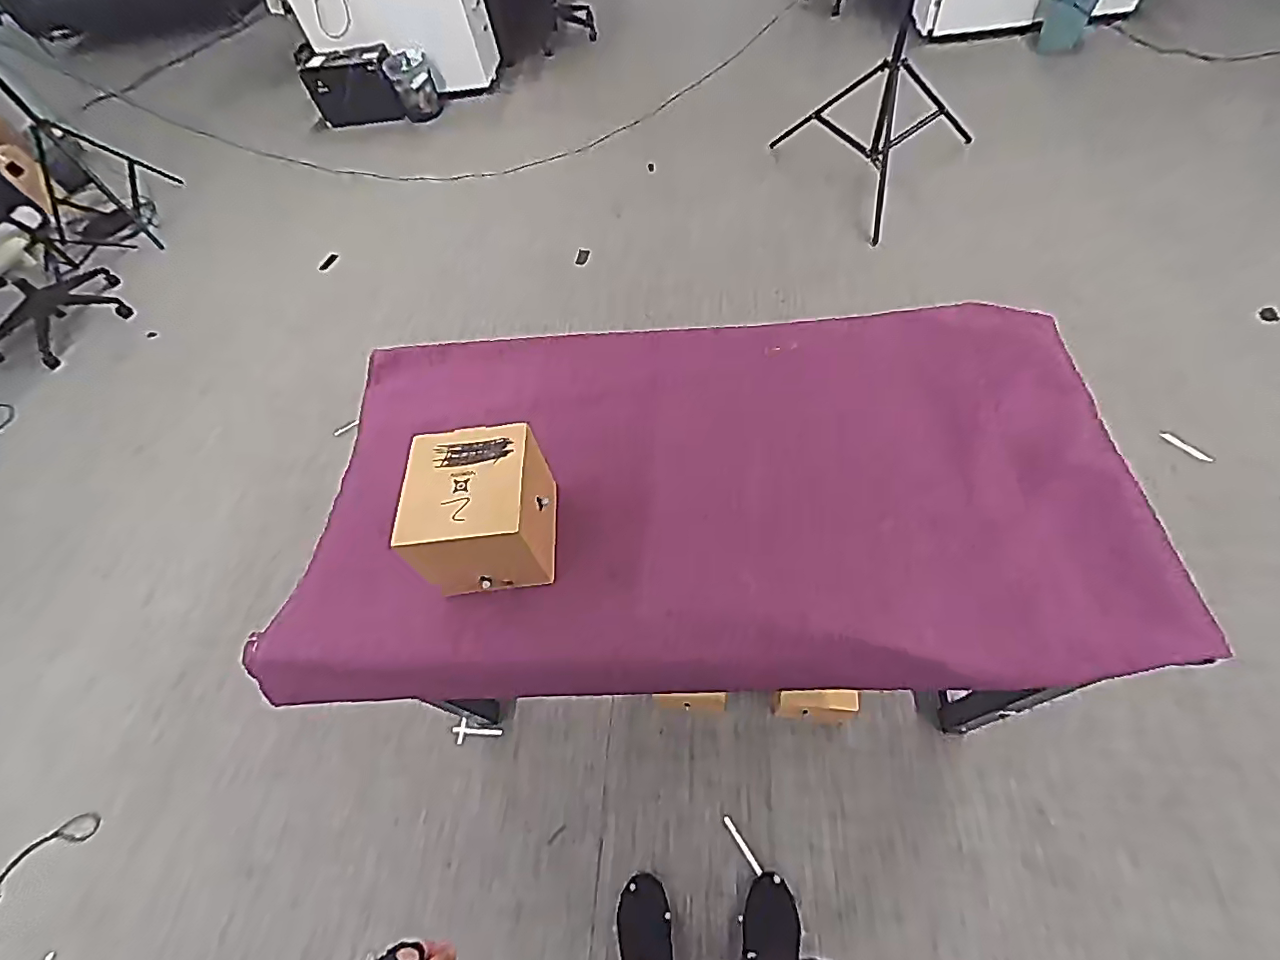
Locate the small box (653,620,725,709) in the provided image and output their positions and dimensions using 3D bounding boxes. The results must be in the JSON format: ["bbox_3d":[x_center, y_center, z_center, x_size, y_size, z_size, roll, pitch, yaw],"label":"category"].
[{"bbox_3d":[0.126,0.459,1.335,0.168,0.176,0.179,0,57,8],"label":"small box"}]

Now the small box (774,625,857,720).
[{"bbox_3d":[0.413,0.464,1.292,0.168,0.176,0.179,2,57,10],"label":"small box"}]
